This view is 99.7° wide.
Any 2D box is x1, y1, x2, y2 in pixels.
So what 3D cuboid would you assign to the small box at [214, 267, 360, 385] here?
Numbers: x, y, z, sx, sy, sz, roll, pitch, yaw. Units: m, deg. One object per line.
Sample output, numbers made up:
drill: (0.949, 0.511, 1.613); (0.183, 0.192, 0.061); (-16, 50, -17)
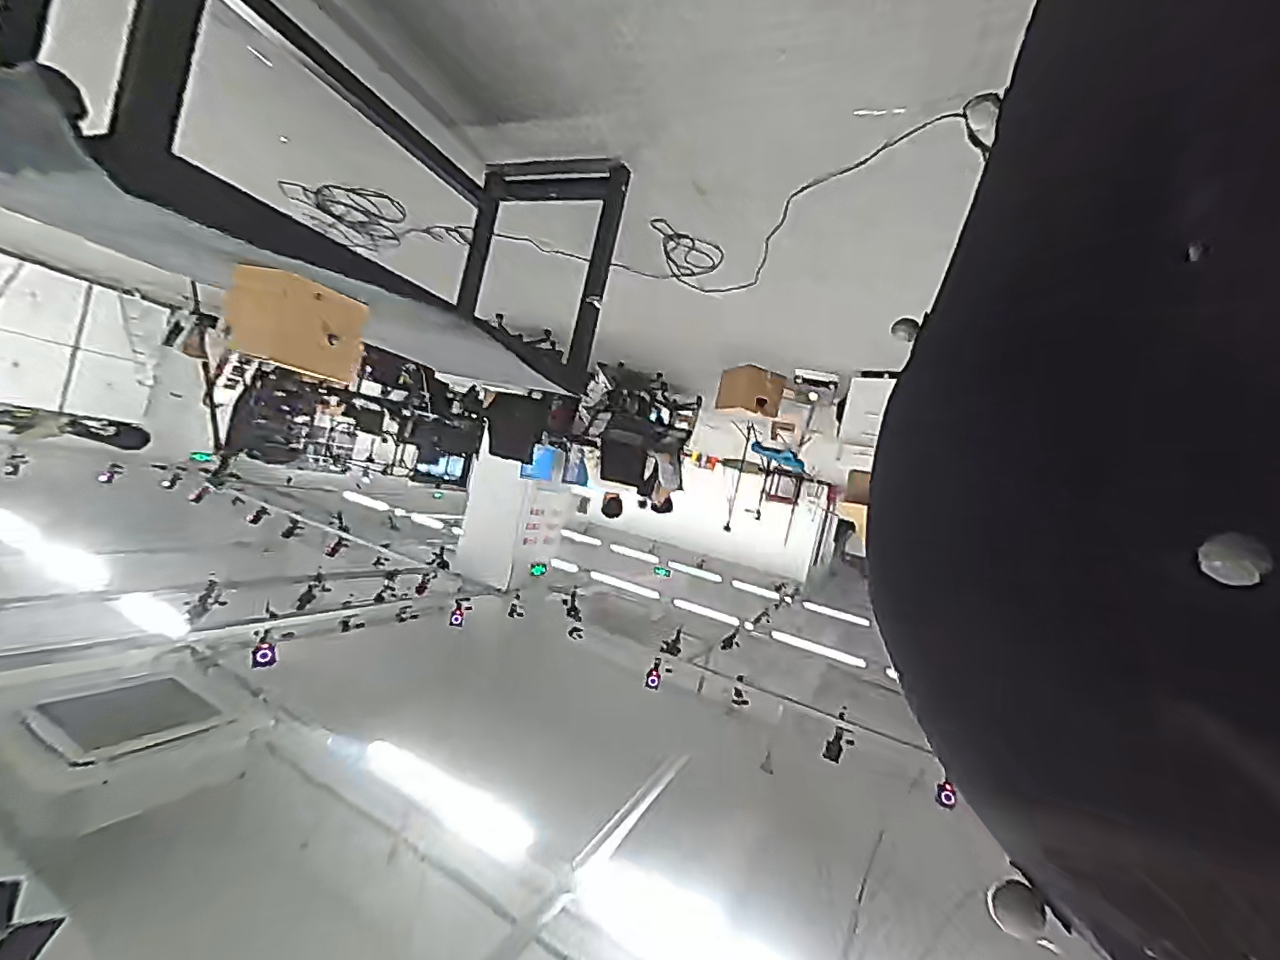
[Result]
small box: (-0.672, -0.295, 1.045); (0.179, 0.176, 0.168); (15, -179, 23)
